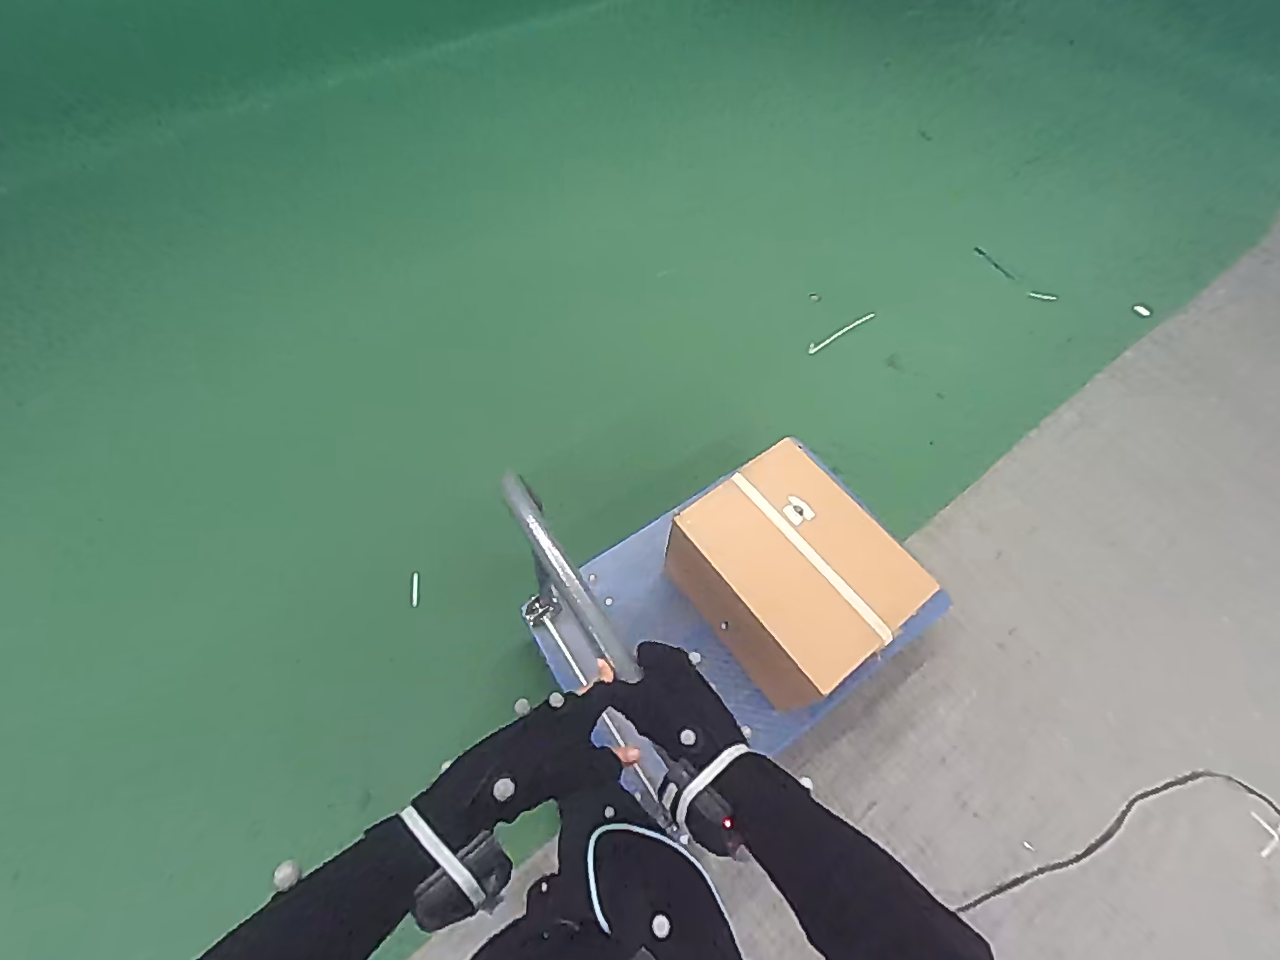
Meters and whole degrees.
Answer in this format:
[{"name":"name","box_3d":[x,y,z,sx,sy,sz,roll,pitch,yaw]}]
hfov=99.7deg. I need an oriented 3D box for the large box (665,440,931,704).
[{"name":"large box","box_3d":[0.298,0.202,1.152,0.320,0.320,0.408,-33,67,-18]}]
